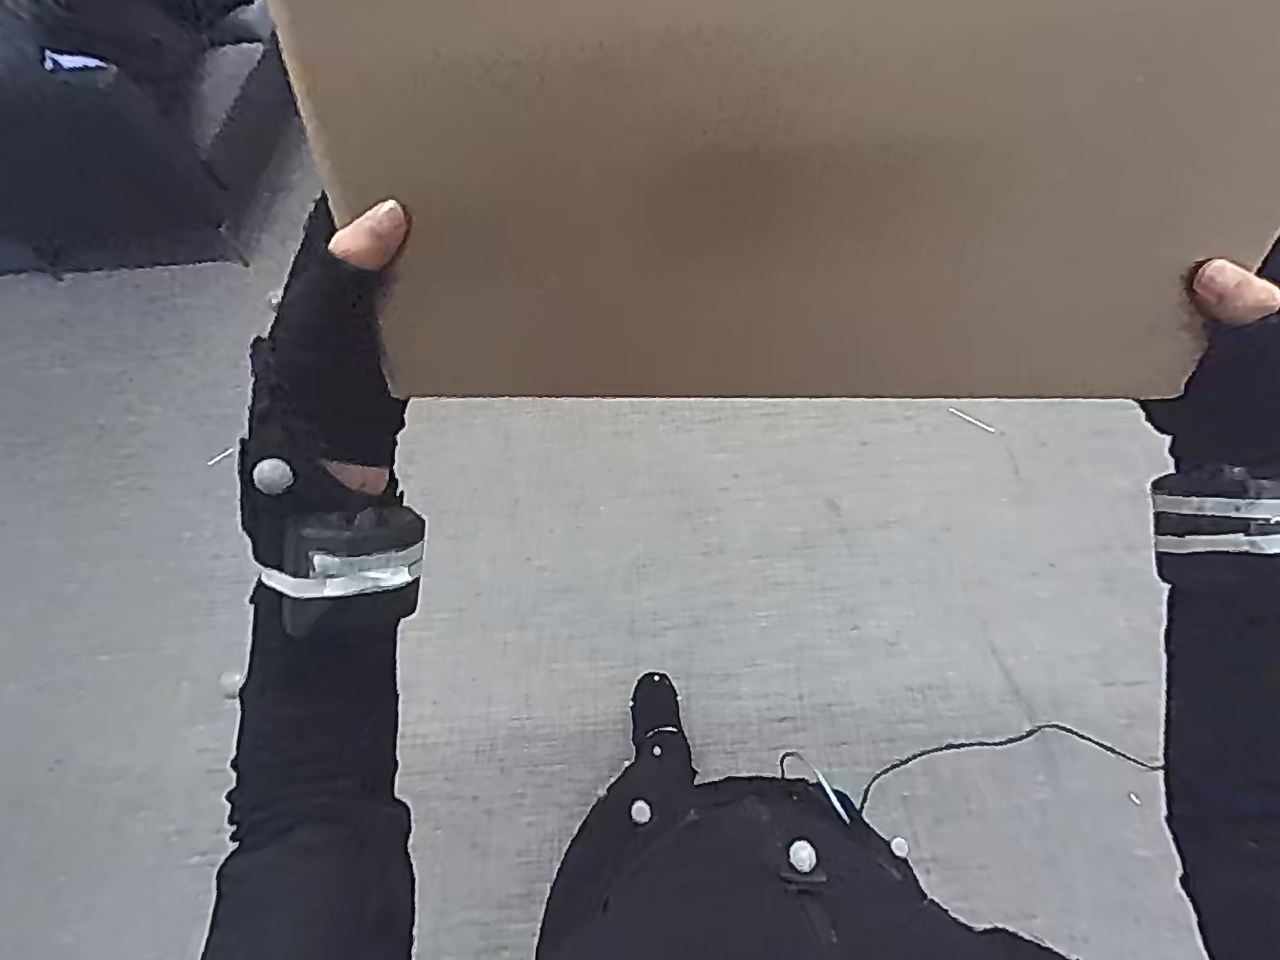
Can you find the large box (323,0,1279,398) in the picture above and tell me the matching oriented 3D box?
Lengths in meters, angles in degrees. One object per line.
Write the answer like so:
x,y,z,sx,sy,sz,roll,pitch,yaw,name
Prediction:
0.078,-0.250,0.323,0.408,0.320,0.320,1,35,-1,large box
